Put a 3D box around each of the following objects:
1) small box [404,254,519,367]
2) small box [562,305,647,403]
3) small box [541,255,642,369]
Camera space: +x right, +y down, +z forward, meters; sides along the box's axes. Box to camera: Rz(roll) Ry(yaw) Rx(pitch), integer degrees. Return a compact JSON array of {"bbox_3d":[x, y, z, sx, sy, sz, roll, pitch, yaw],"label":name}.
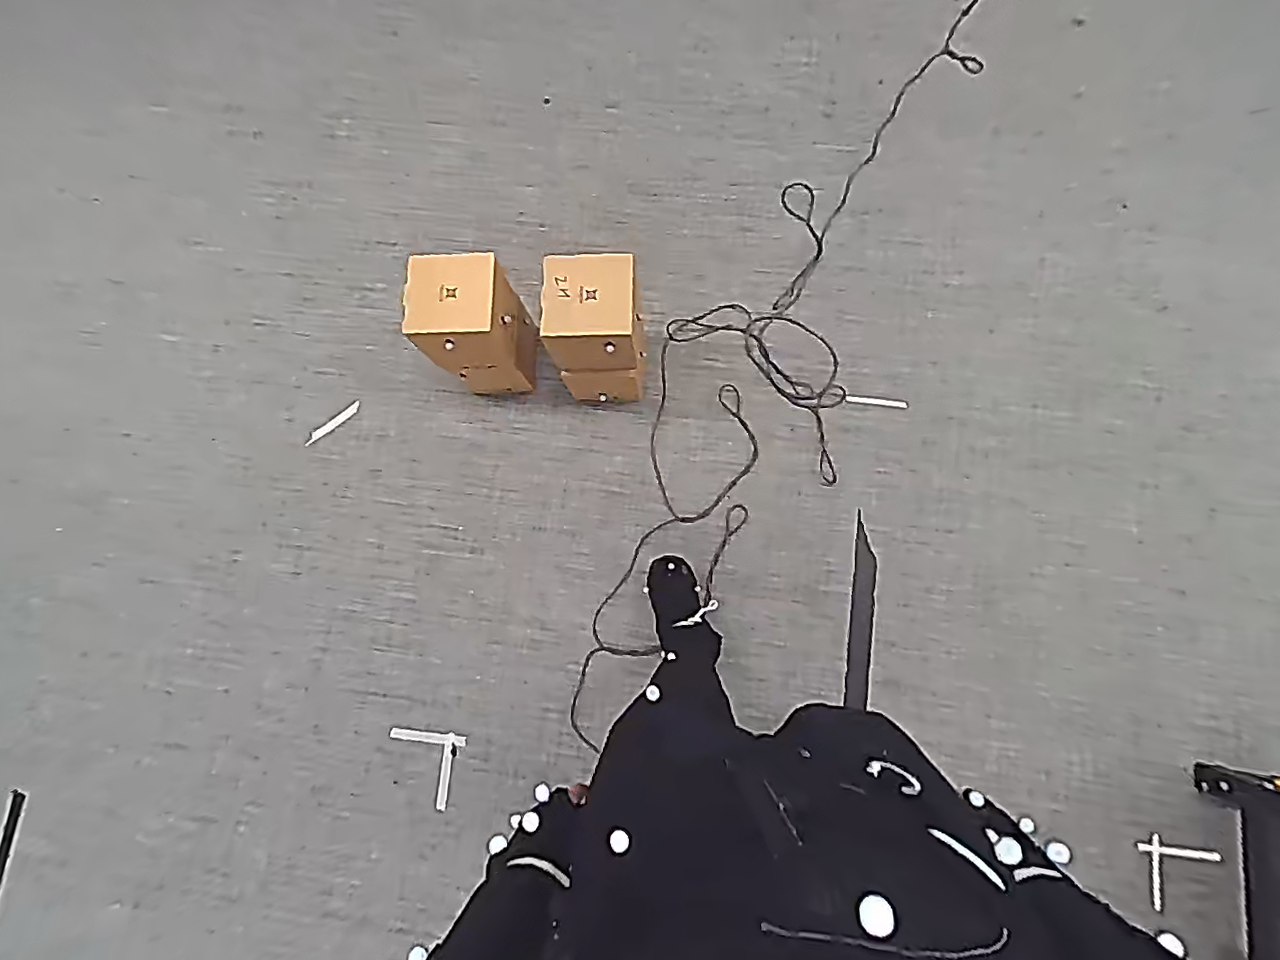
[{"bbox_3d":[-0.355,-0.341,1.111,0.179,0.176,0.168,-1,79,5],"label":"small box"},{"bbox_3d":[-0.075,-0.290,1.244,0.168,0.176,0.179,2,81,6],"label":"small box"},{"bbox_3d":[-0.088,-0.330,1.084,0.179,0.176,0.168,0,79,5],"label":"small box"}]
